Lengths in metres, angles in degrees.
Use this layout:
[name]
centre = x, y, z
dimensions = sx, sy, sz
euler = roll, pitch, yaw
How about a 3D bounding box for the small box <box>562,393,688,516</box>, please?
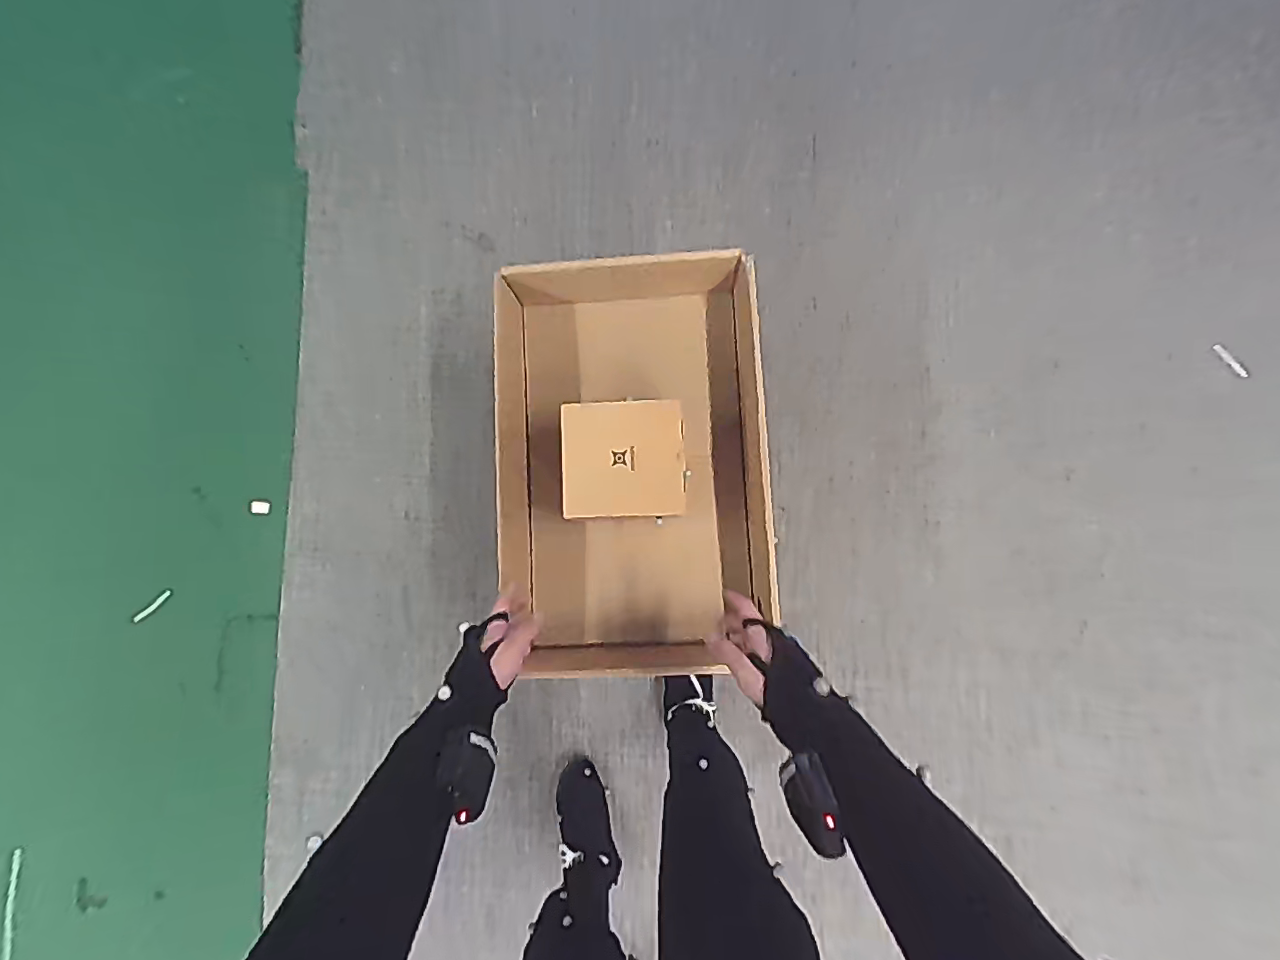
[small box]
centre = -0.017, -0.031, 0.835
dimensions = 0.179, 0.176, 0.168
euler = -2, 85, 2
